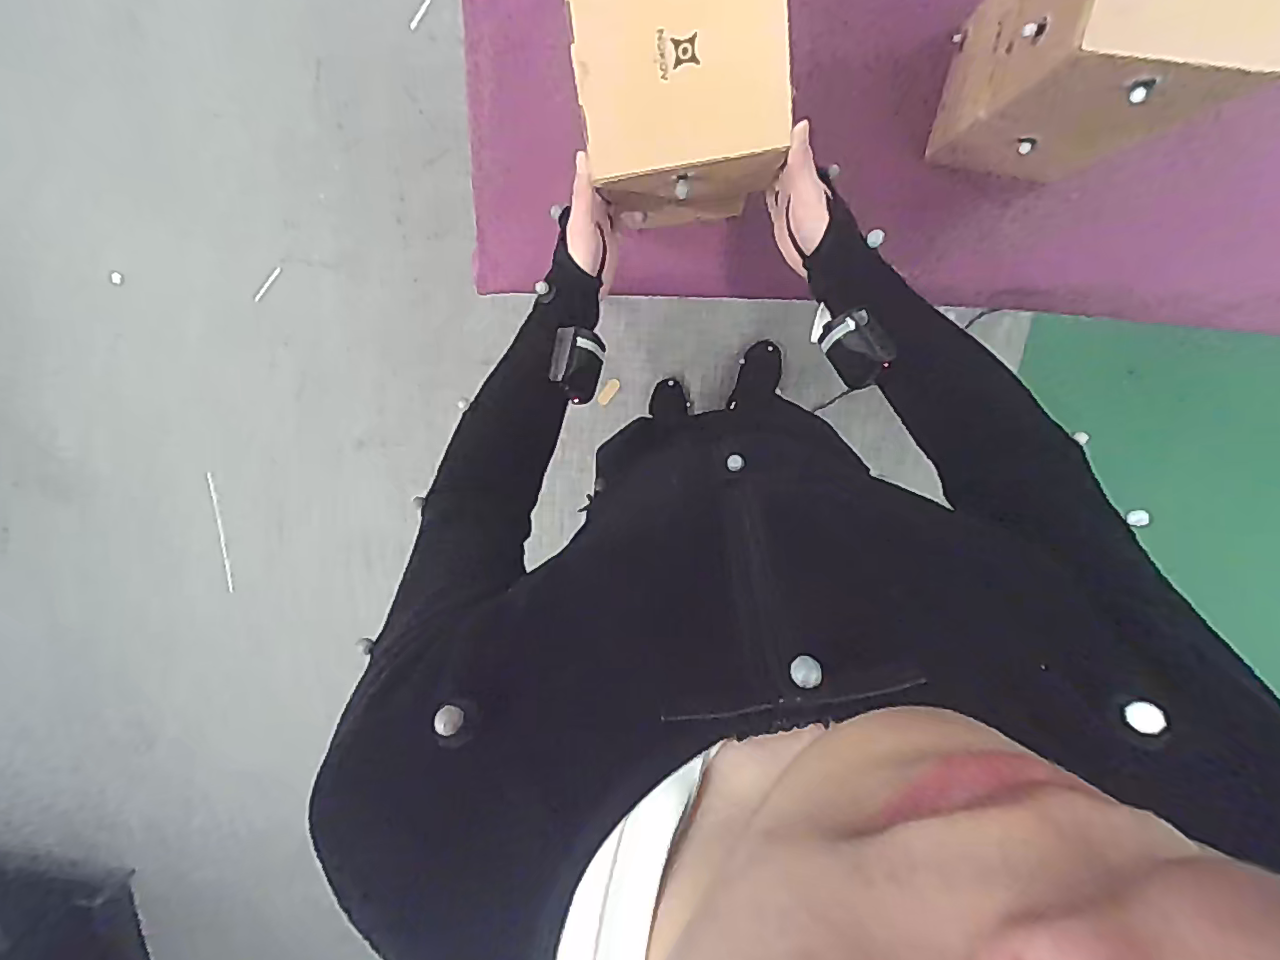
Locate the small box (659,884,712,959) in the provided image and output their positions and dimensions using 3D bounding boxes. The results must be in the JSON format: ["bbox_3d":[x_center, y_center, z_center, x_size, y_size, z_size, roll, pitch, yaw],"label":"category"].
[{"bbox_3d":[0.175,1.673,2.039,0.179,0.176,0.168,7,107,5],"label":"small box"}]

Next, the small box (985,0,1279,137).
[{"bbox_3d":[0.458,-0.435,0.490,0.179,0.176,0.168,10,108,4],"label":"small box"}]

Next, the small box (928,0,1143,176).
[{"bbox_3d":[0.479,-0.482,0.644,0.179,0.176,0.168,11,107,3],"label":"small box"}]

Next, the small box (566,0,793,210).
[{"bbox_3d":[0.043,-0.368,0.515,0.179,0.176,0.168,-5,108,10],"label":"small box"}]

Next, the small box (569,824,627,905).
[{"bbox_3d":[-0.154,1.423,2.015,0.179,0.176,0.168,9,107,5],"label":"small box"}]
